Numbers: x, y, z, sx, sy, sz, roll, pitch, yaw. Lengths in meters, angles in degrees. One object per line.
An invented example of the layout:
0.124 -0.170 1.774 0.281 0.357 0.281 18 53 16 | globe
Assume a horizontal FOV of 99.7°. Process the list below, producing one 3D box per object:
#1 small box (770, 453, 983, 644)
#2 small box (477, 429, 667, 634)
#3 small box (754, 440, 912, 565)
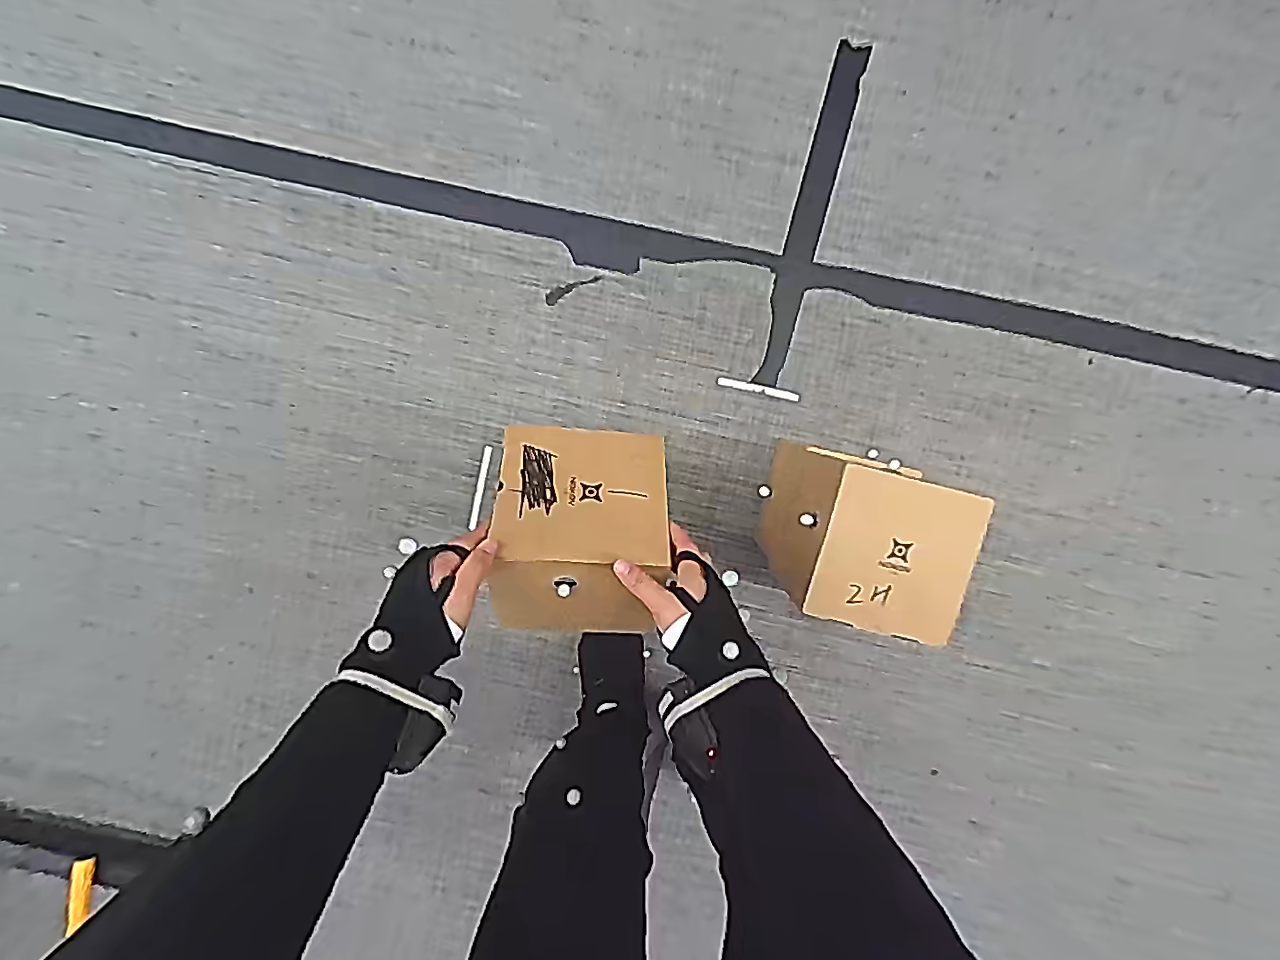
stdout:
0.273 0.071 0.669 0.168 0.176 0.179 14 98 0 | small box
-0.070 0.063 0.602 0.179 0.176 0.168 3 53 -6 | small box
0.282 0.044 0.833 0.168 0.176 0.179 13 98 0 | small box
